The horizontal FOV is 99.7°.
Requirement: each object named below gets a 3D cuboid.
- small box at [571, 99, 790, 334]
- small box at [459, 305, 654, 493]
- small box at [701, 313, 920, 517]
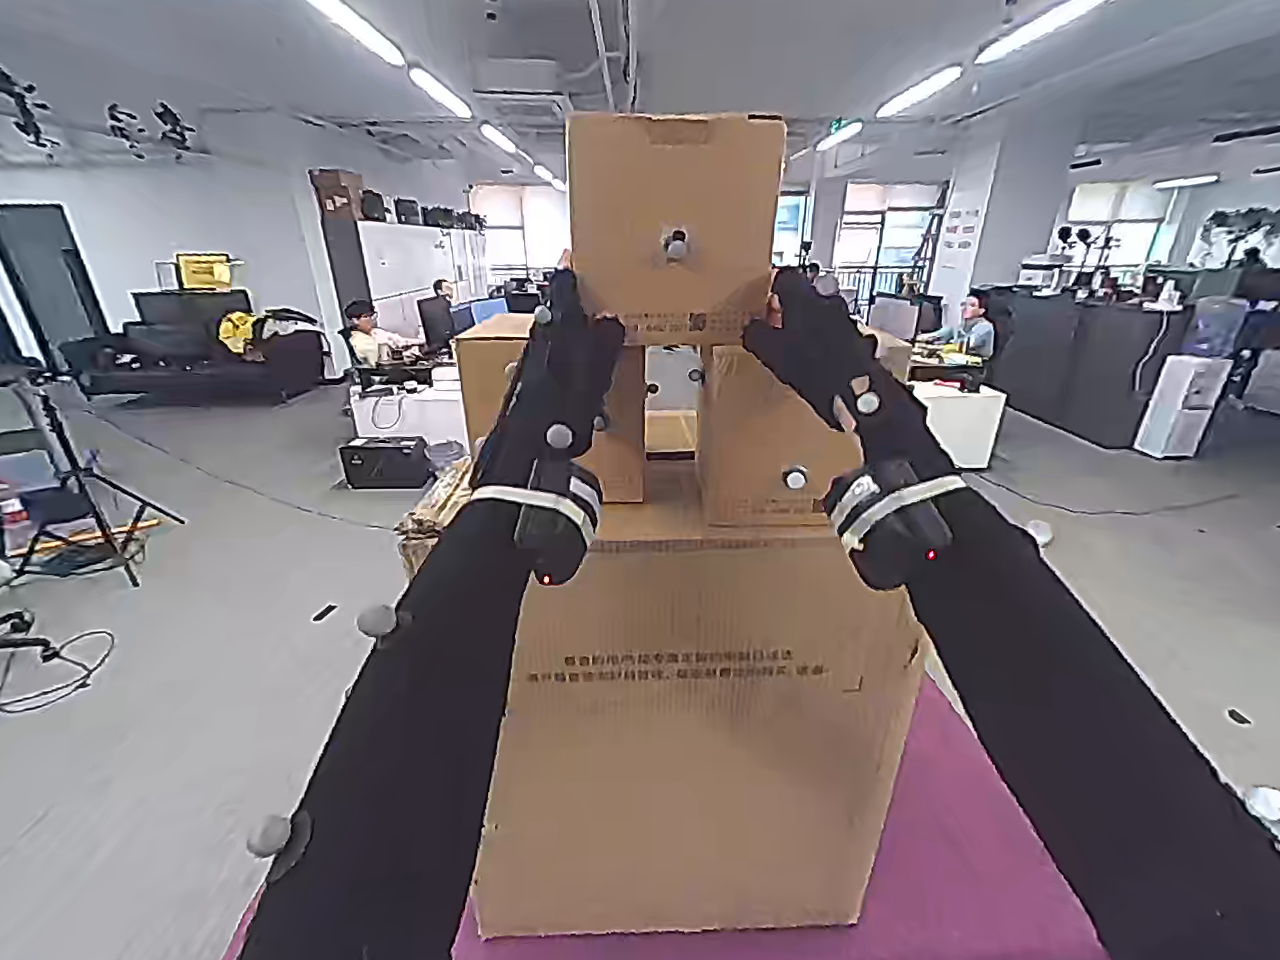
[{"bbox_3d":[0.023,-0.232,0.499,0.168,0.176,0.179,-2,24,-7],"label":"small box"},{"bbox_3d":[-0.076,-0.092,0.588,0.179,0.176,0.168,0,23,0],"label":"small box"},{"bbox_3d":[0.151,-0.074,0.550,0.168,0.176,0.179,-1,23,2],"label":"small box"}]
